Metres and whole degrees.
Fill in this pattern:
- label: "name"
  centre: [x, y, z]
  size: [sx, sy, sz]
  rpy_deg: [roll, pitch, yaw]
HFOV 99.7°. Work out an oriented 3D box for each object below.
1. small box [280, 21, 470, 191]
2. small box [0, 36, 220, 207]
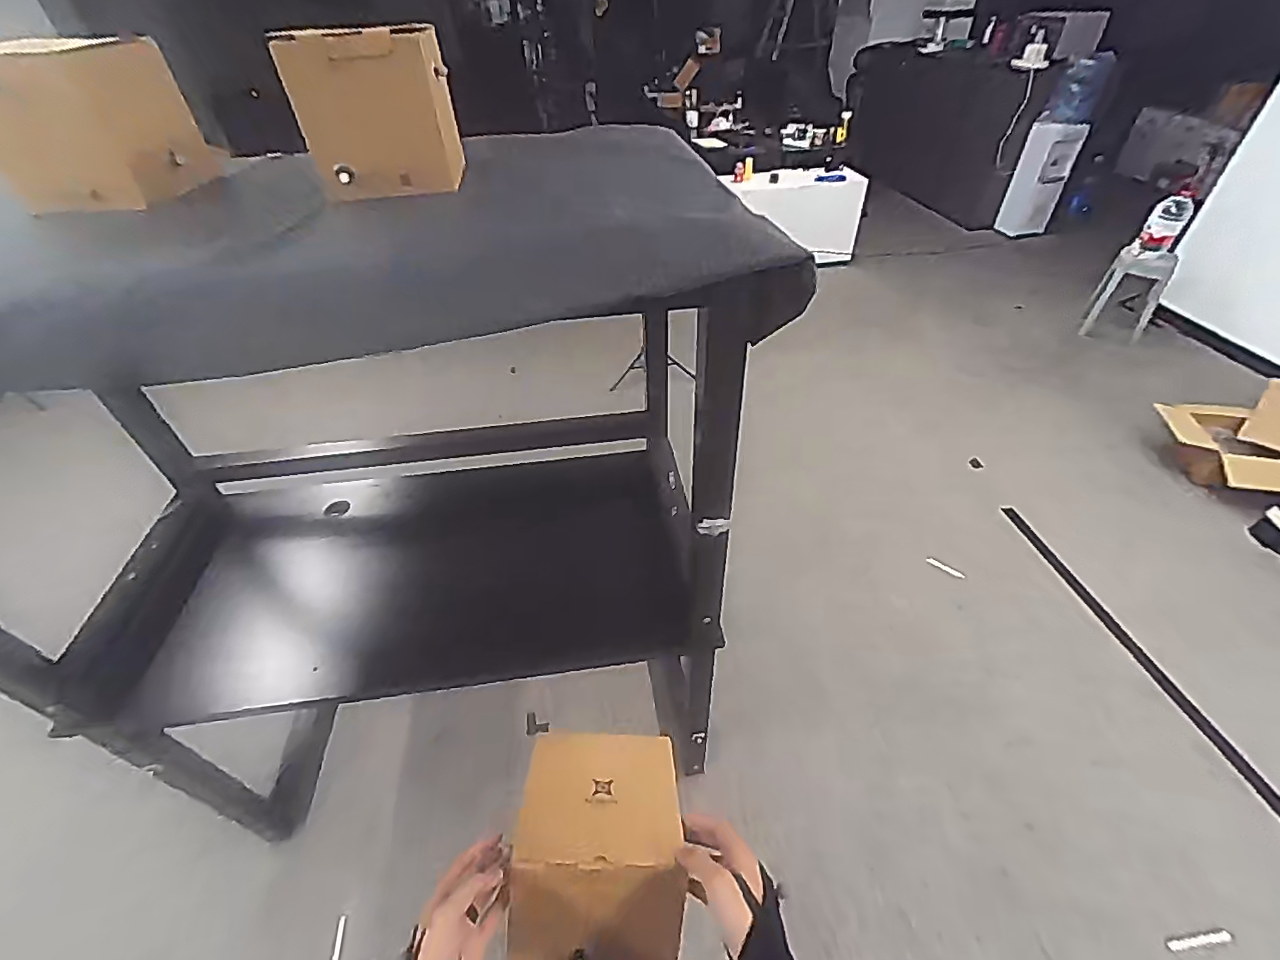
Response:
- label: "small box"
  centre: [-0.333, -0.496, 0.724]
  size: [0.168, 0.176, 0.179]
  rpy_deg: [-8, 42, -6]
- label: "small box"
  centre: [-0.711, -0.475, 0.717]
  size: [0.168, 0.176, 0.179]
  rpy_deg: [-3, 42, -1]
